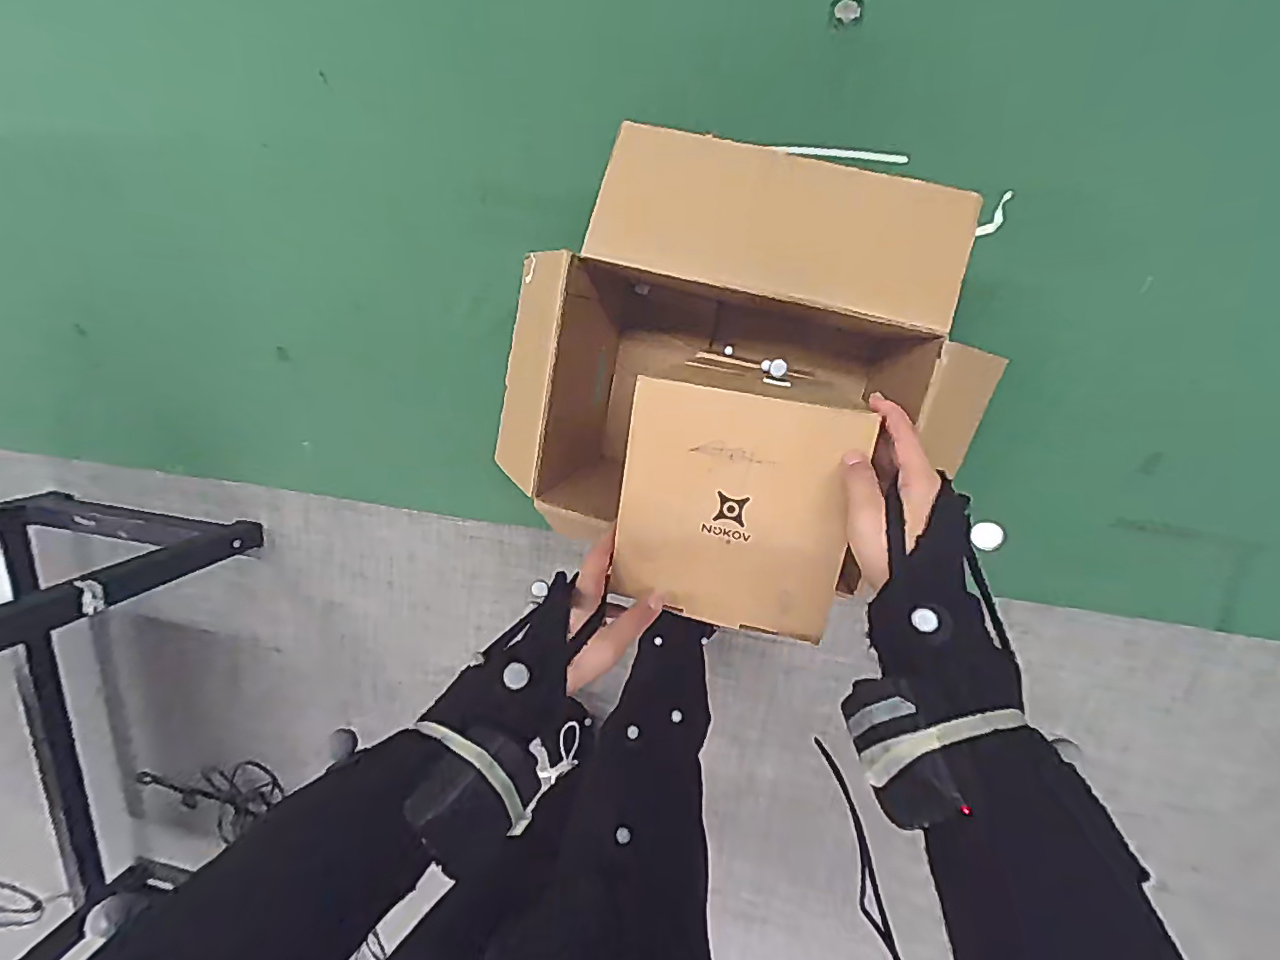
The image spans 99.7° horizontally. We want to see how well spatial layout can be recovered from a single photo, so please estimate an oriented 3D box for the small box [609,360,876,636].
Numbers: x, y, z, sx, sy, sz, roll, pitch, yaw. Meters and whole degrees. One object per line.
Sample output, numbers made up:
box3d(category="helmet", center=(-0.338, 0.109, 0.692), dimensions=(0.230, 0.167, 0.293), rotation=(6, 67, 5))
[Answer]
box3d(category="small box", center=(0.083, -0.002, 0.462), dimensions=(0.168, 0.176, 0.179), rotation=(11, 106, 11))
